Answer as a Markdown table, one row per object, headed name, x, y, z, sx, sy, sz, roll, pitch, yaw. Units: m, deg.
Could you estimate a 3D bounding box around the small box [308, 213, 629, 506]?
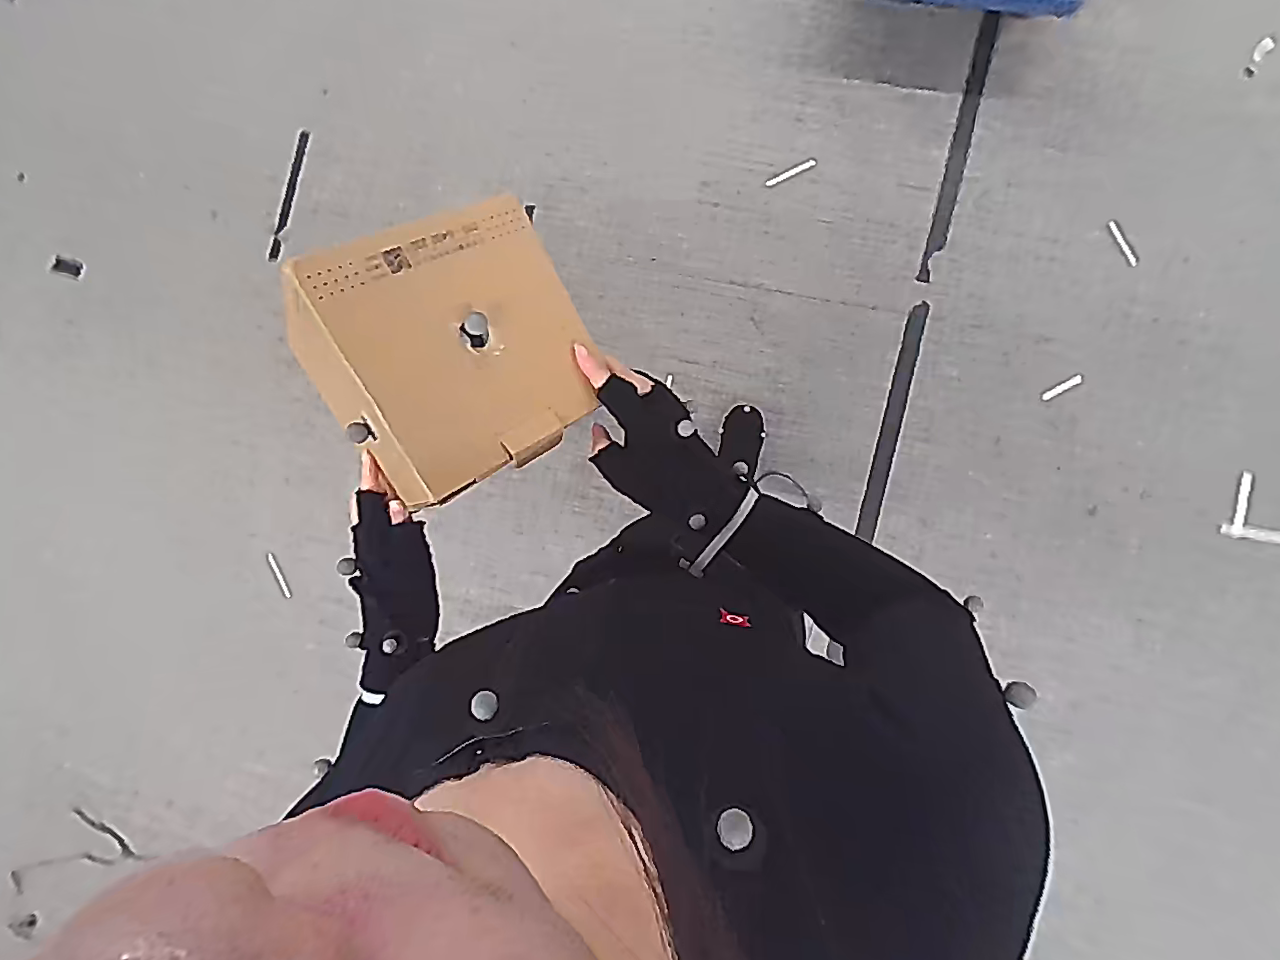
| name | x | y | z | sx | sy | sz | roll | pitch | yaw |
| --- | --- | --- | --- | --- | --- | --- | --- | --- | --- |
| small box | -0.145 | -0.094 | 0.443 | 0.168 | 0.179 | 0.176 | -34 | 104 | -28 |
